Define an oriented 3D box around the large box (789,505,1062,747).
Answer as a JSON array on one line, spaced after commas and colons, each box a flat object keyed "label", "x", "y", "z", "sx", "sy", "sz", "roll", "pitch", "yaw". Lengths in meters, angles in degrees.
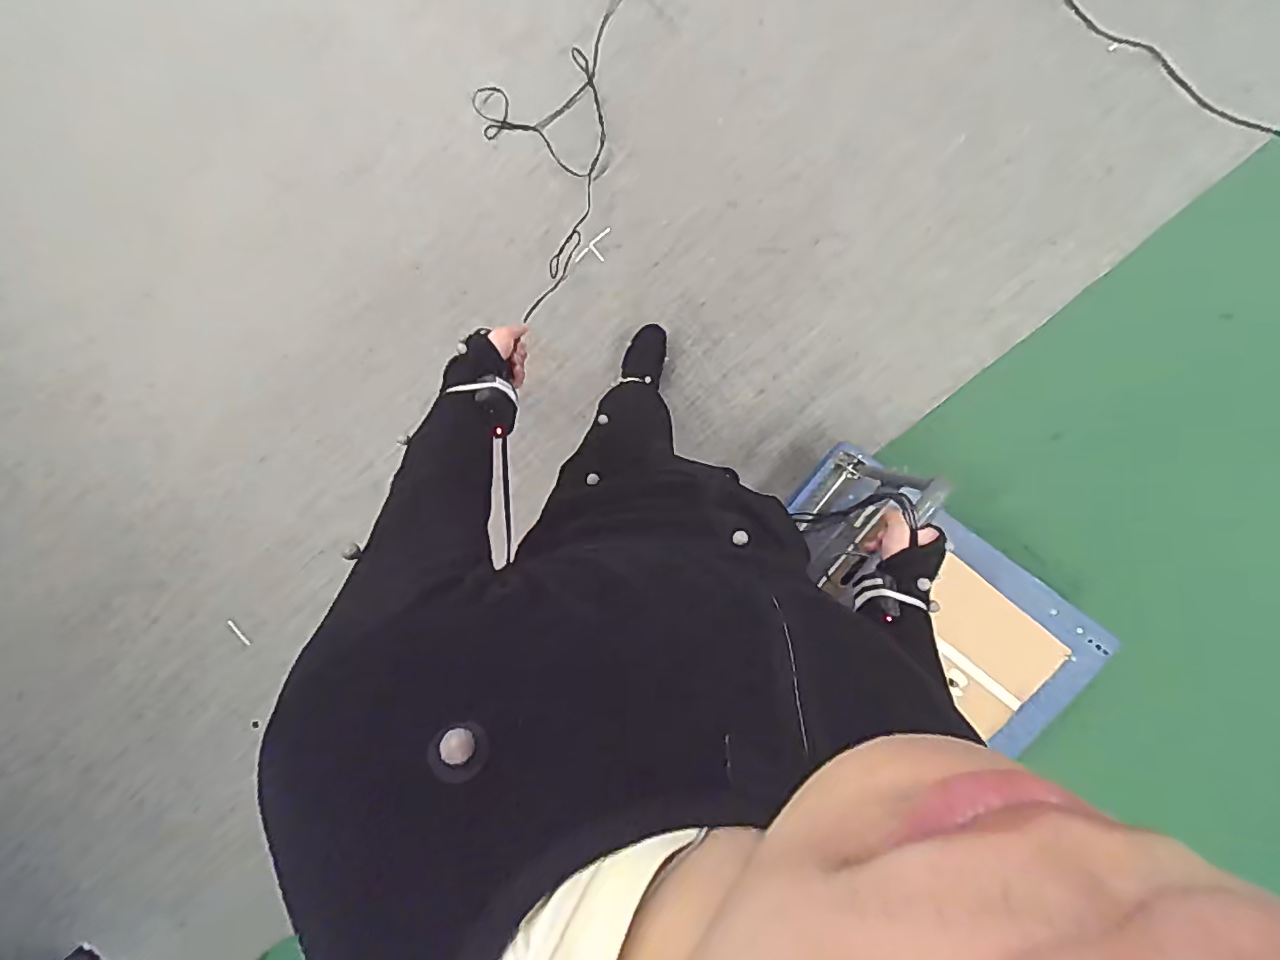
[{"label": "large box", "x": 0.626, "y": 0.311, "z": 1.267, "sx": 0.408, "sy": 0.320, "sz": 0.320, "roll": 39, "pitch": 98, "yaw": 0}]
